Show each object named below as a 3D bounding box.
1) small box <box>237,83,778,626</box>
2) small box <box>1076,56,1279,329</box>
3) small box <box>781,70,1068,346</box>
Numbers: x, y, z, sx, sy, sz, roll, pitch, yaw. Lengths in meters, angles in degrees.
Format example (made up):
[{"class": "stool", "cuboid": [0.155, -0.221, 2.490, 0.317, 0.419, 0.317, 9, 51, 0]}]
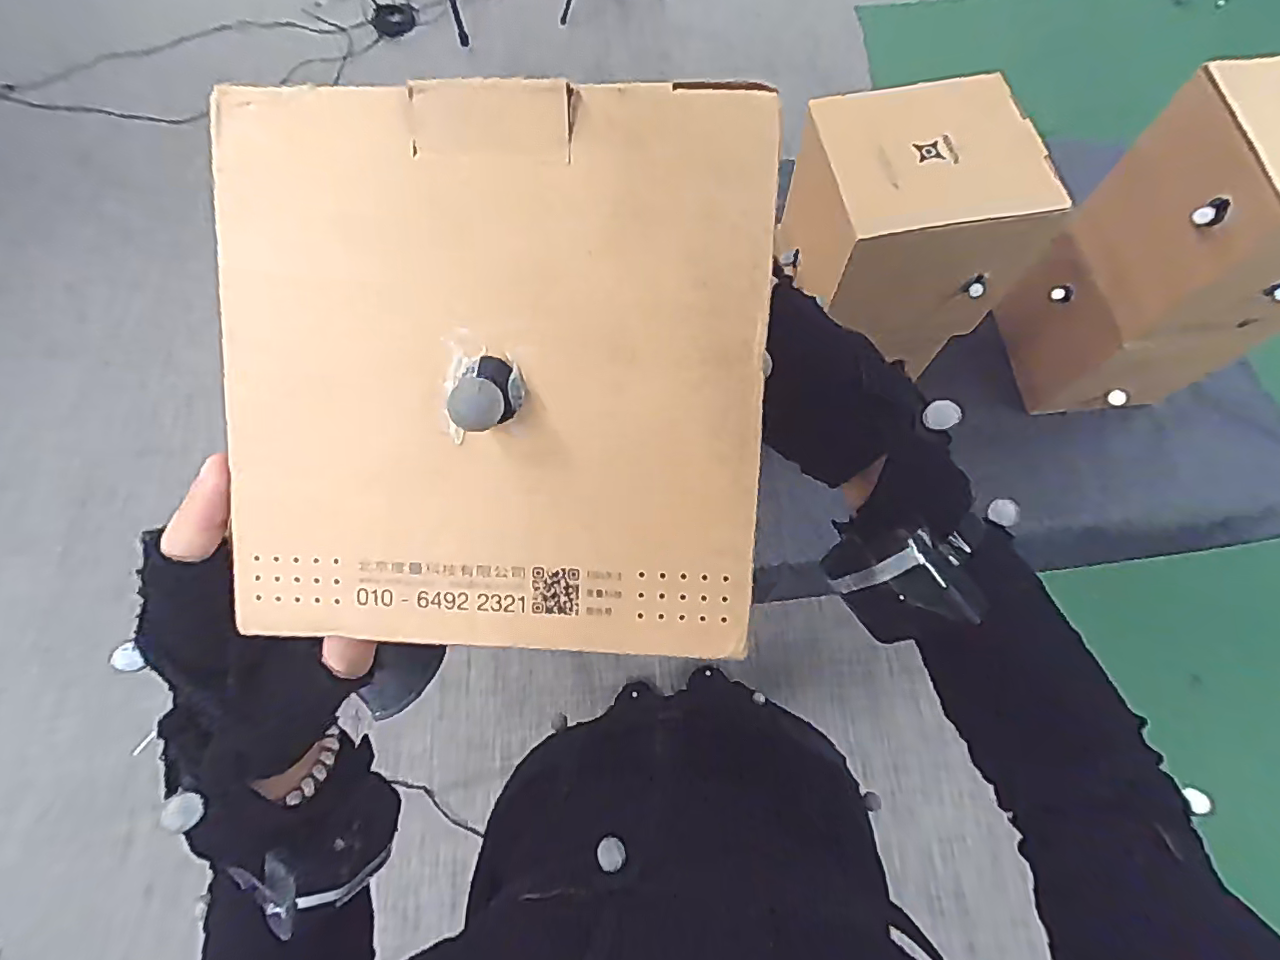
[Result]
[{"class": "small box", "cuboid": [-0.038, -0.044, 0.251, 0.168, 0.179, 0.176, 4, 98, 2]}, {"class": "small box", "cuboid": [0.574, -0.259, 0.514, 0.168, 0.176, 0.179, -3, 70, 3]}, {"class": "small box", "cuboid": [0.254, -0.254, 0.535, 0.179, 0.176, 0.168, -8, 69, 1]}]
